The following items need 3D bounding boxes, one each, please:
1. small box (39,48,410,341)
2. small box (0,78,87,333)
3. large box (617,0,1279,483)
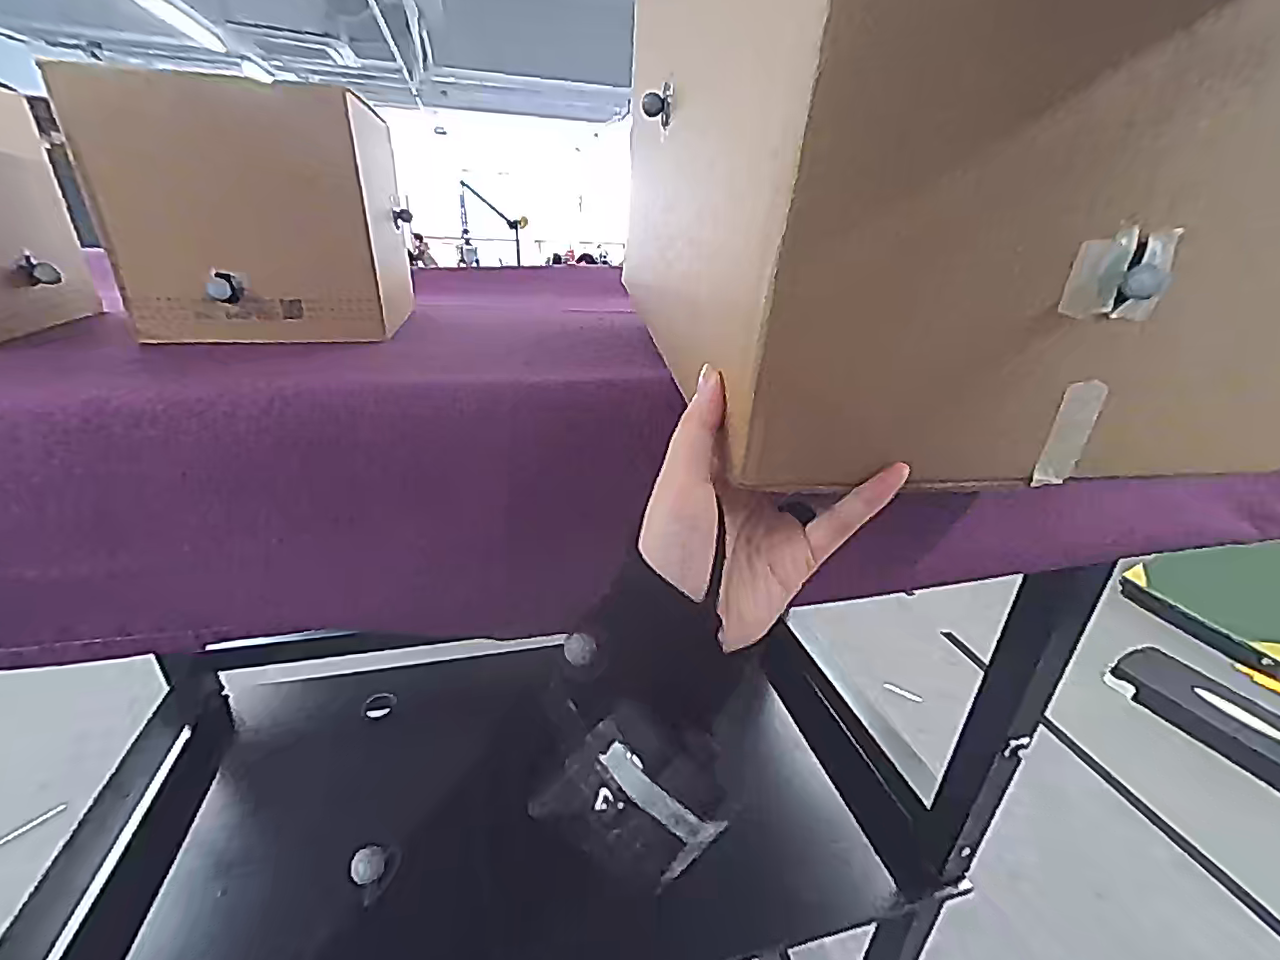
[{"bbox_3d":[-0.292,-0.213,0.436,0.168,0.176,0.179,-5,27,-13],"label":"small box"},{"bbox_3d":[-0.520,-0.183,0.349,0.168,0.176,0.179,-8,26,-20],"label":"small box"},{"bbox_3d":[0.165,-0.231,0.341,0.320,0.320,0.408,-1,30,-10],"label":"large box"}]
